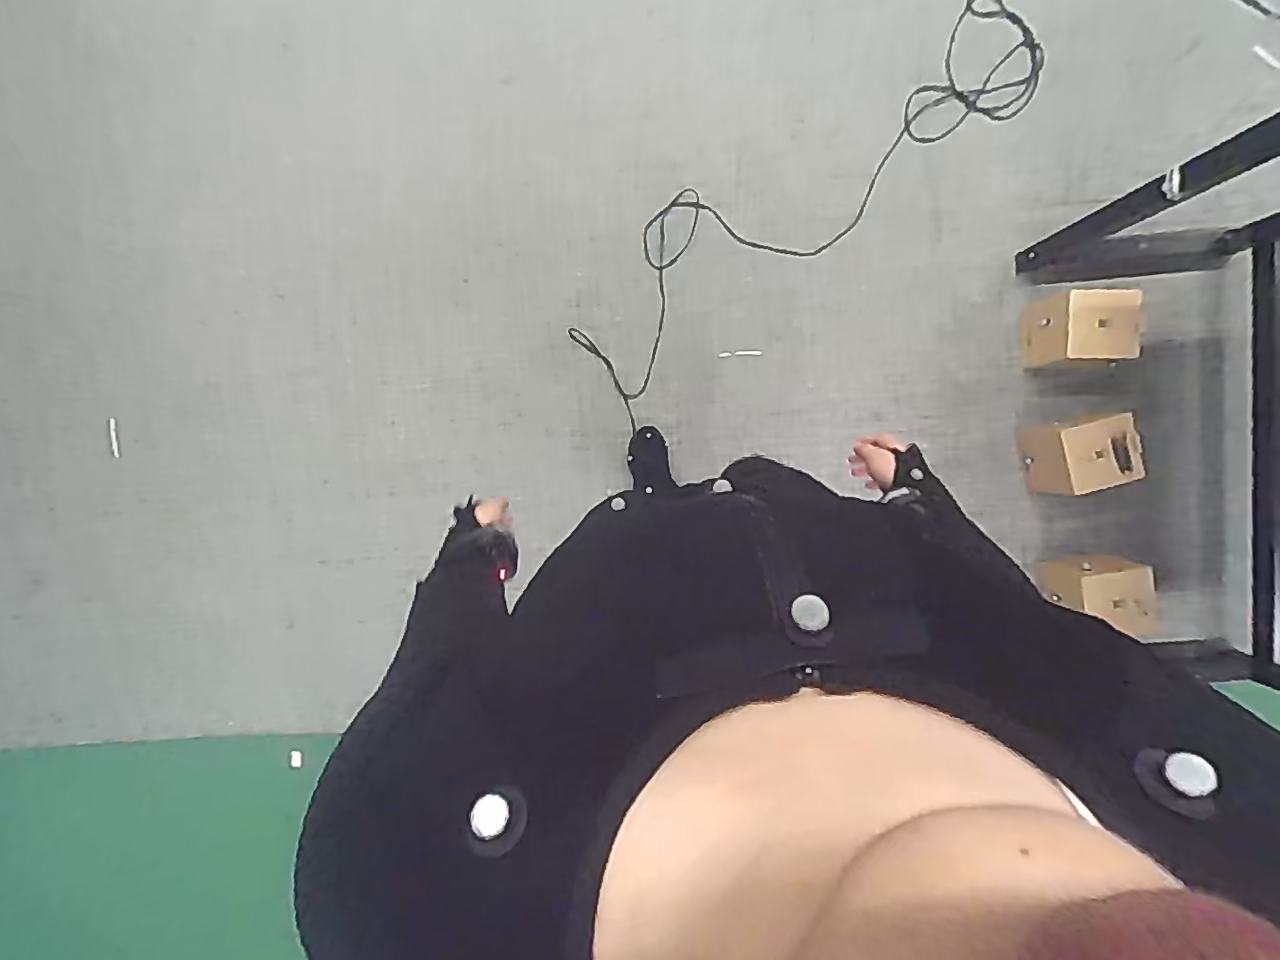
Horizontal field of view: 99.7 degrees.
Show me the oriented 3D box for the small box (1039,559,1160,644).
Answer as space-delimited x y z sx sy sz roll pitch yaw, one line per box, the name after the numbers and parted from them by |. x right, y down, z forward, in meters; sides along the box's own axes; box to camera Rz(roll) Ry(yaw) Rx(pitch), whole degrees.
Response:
1.174 0.309 1.398 0.179 0.176 0.168 -9 93 1 | small box

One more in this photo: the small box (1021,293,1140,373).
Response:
1.107 -0.367 1.373 0.179 0.176 0.168 0 92 0 | small box
